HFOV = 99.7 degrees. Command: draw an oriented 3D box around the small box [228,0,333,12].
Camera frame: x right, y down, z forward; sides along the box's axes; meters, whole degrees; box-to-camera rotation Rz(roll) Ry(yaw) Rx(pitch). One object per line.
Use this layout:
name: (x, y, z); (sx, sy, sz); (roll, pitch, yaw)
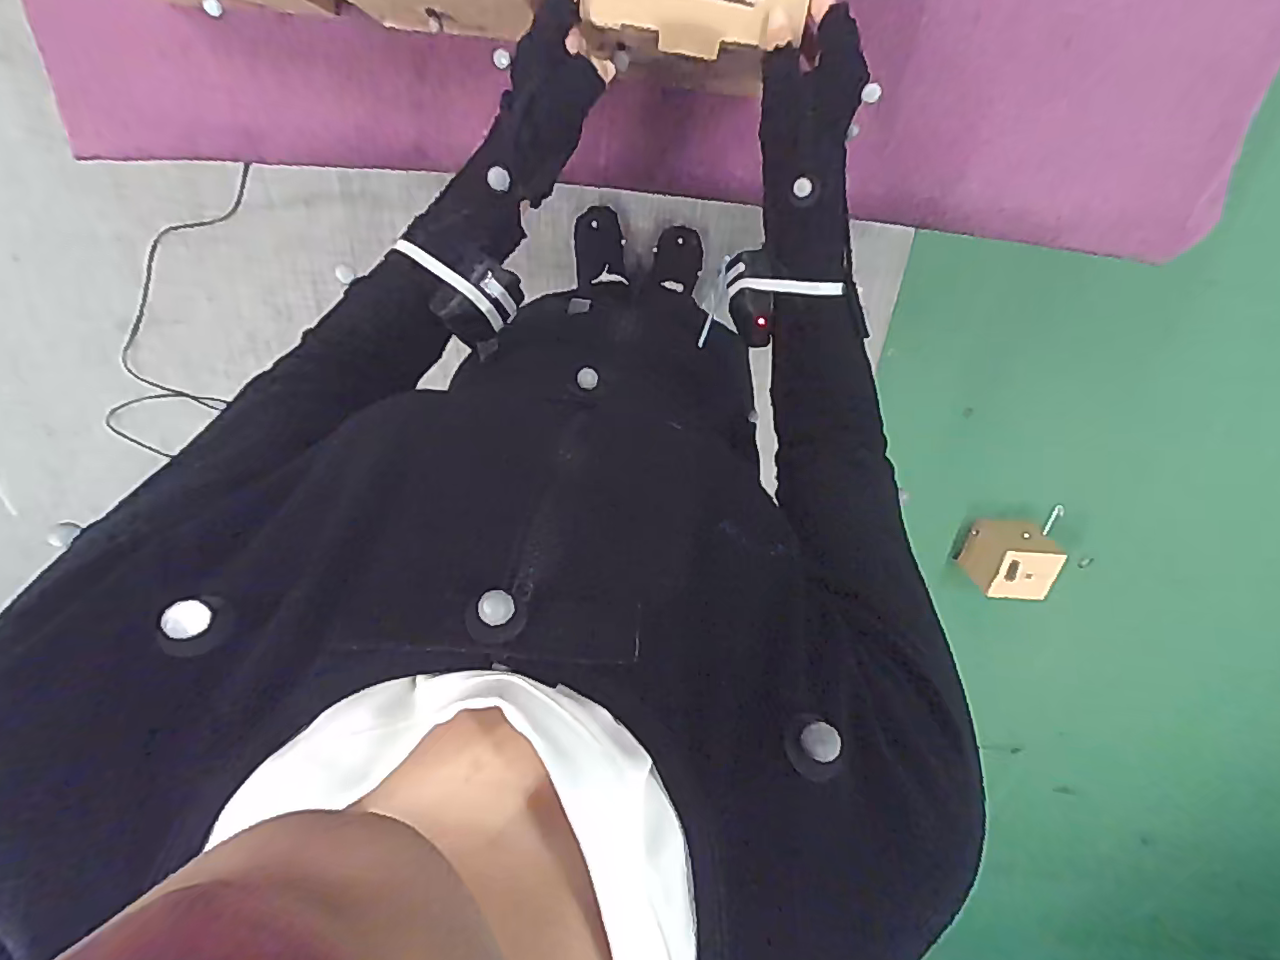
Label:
small box: (-0.365, -0.497, 0.408); (0.168, 0.176, 0.179); (4, 118, -2)

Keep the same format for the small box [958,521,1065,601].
small box: (1.094, 0.236, 1.612); (0.179, 0.176, 0.168); (4, 119, -3)
